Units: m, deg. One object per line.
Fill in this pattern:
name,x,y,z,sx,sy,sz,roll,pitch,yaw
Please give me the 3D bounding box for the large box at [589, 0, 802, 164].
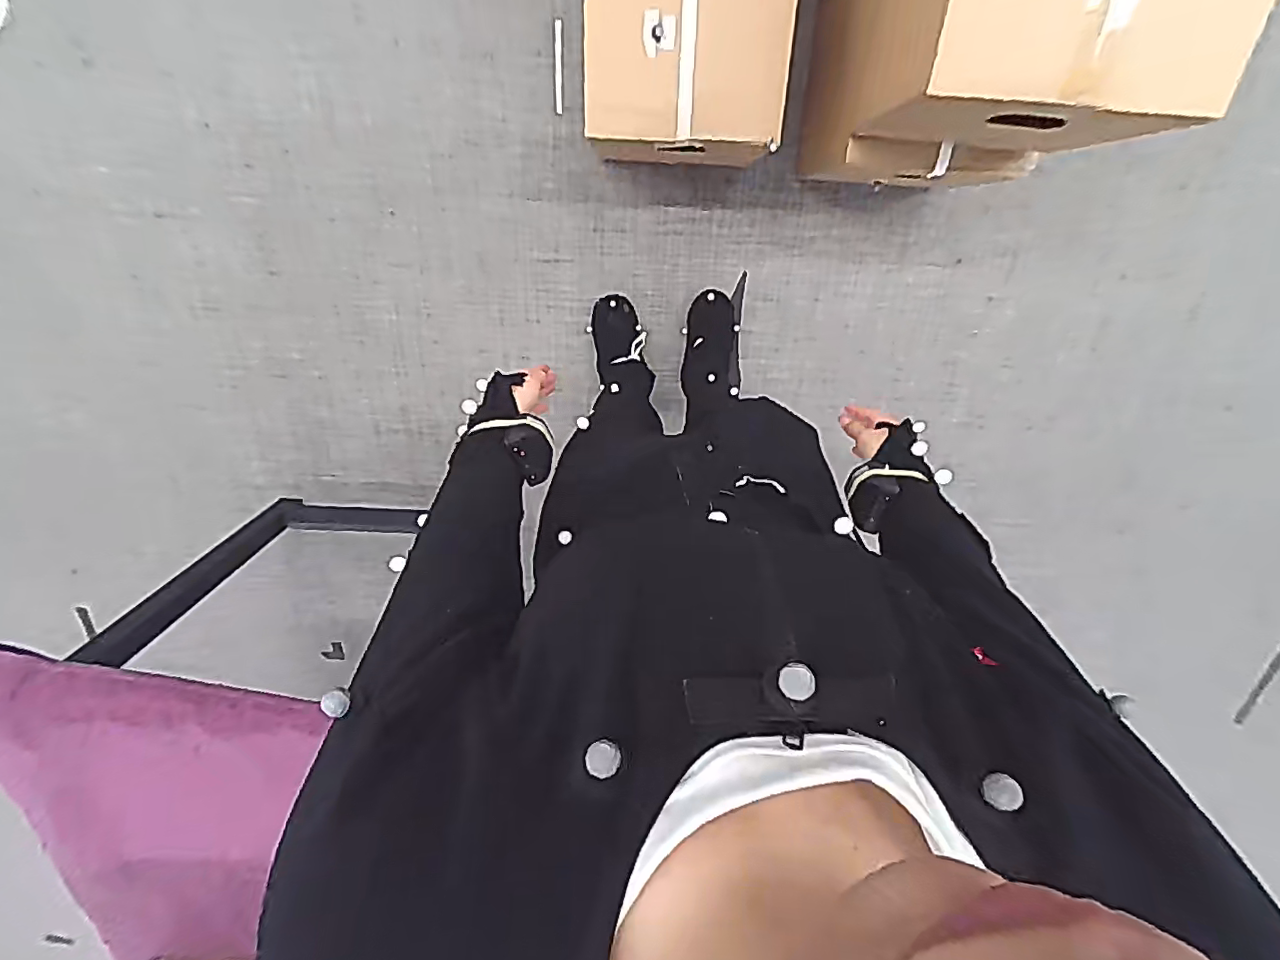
large box,0.080,-0.777,0.905,0.320,0.320,0.408,1,115,0
